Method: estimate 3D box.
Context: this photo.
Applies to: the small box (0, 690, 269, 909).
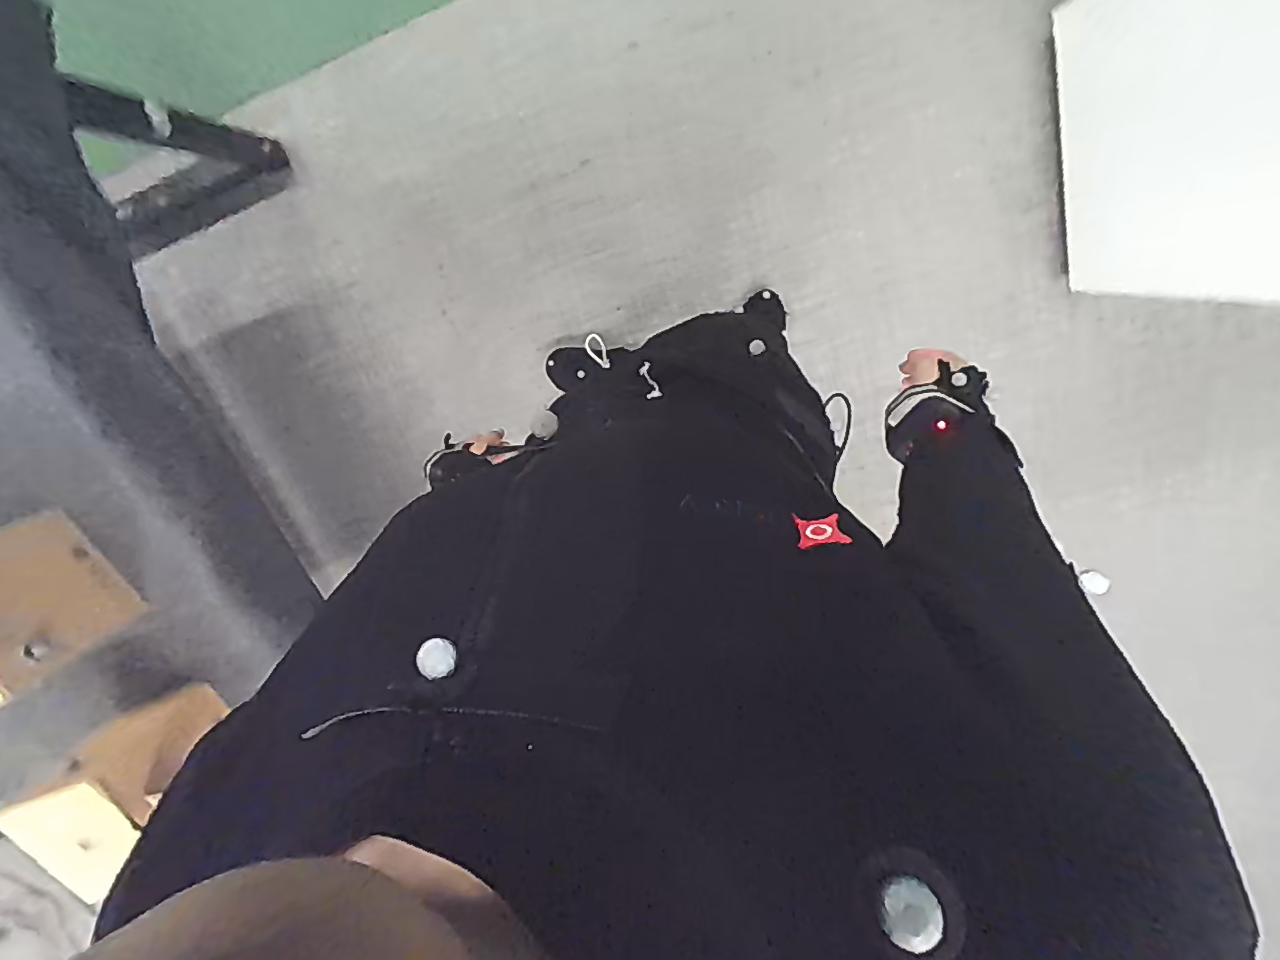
[{"bbox_3d":[-0.662,0.420,0.728,0.179,0.176,0.168,-23,107,11],"label":"small box"}]
